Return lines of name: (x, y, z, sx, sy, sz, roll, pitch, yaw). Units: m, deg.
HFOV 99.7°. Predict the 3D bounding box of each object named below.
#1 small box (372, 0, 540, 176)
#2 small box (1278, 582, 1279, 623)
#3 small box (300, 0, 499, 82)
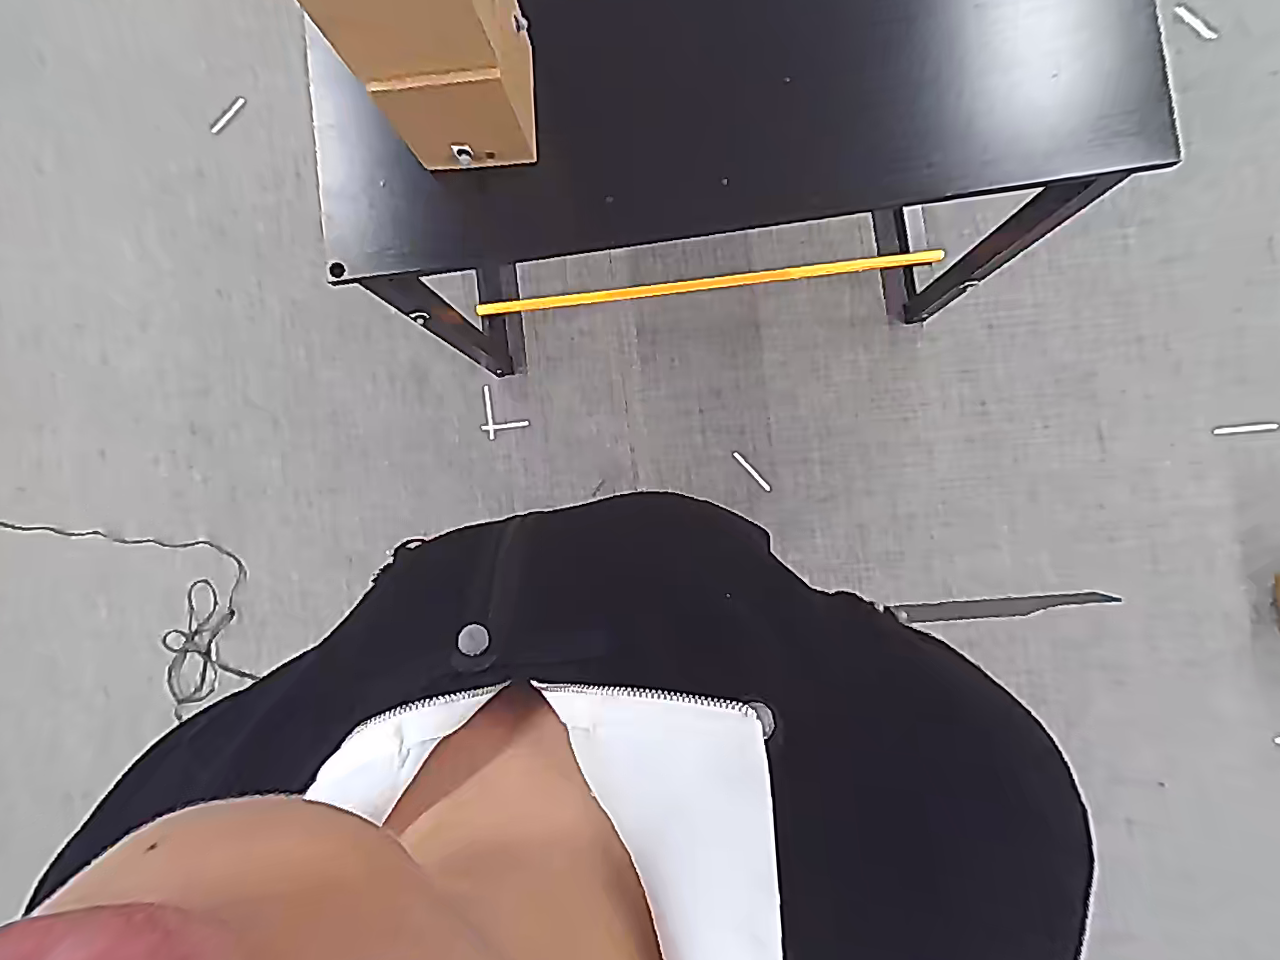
small box: (-0.236, -0.543, 0.720, 0.168, 0.176, 0.179, -3, 89, 4)
small box: (1.713, 0.314, 1.302, 0.179, 0.176, 0.168, -4, 88, 5)
small box: (-0.252, -0.555, 0.556, 0.179, 0.176, 0.168, -3, 87, 4)
